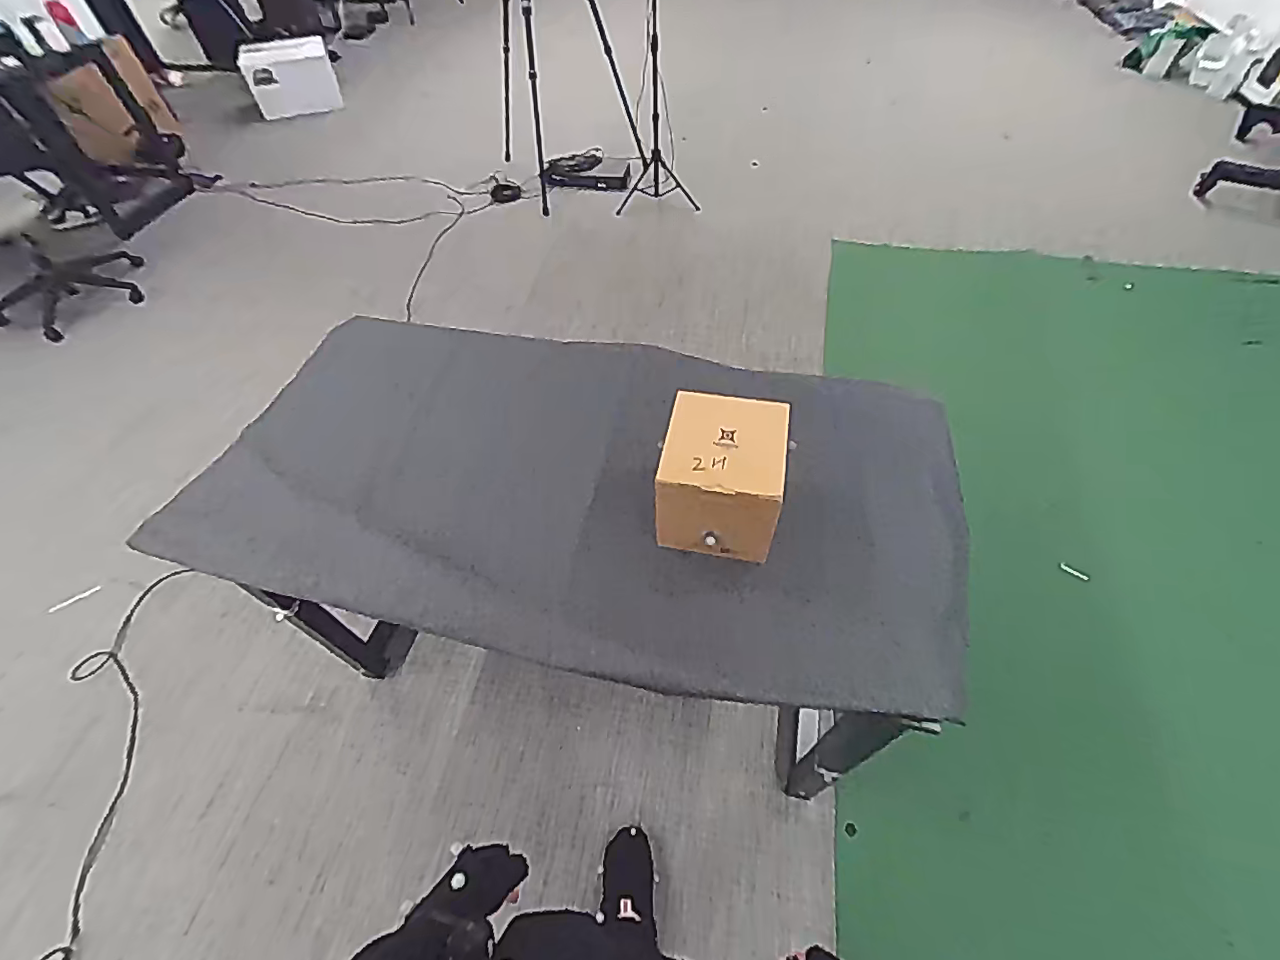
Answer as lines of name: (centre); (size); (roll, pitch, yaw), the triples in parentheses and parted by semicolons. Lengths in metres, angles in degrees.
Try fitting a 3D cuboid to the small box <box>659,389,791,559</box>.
small box: (0.123, -0.008, 0.808); (0.168, 0.176, 0.179); (8, 53, 10)
